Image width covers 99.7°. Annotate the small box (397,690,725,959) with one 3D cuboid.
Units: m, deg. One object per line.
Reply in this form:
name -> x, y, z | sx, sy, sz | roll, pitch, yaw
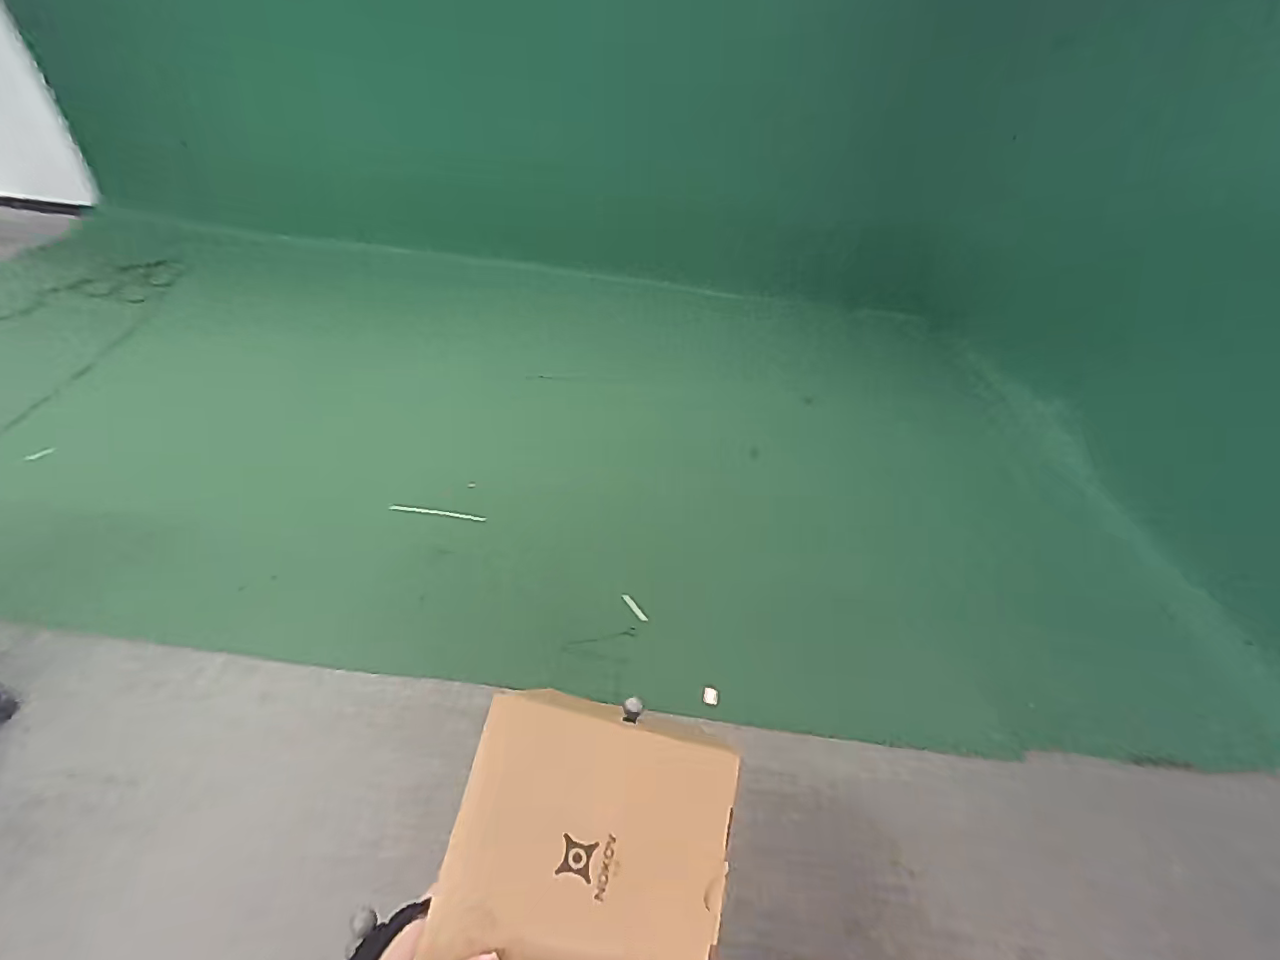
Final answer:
small box -> -0.043, 0.267, 0.413 | 0.179, 0.176, 0.168 | 11, 69, 6
